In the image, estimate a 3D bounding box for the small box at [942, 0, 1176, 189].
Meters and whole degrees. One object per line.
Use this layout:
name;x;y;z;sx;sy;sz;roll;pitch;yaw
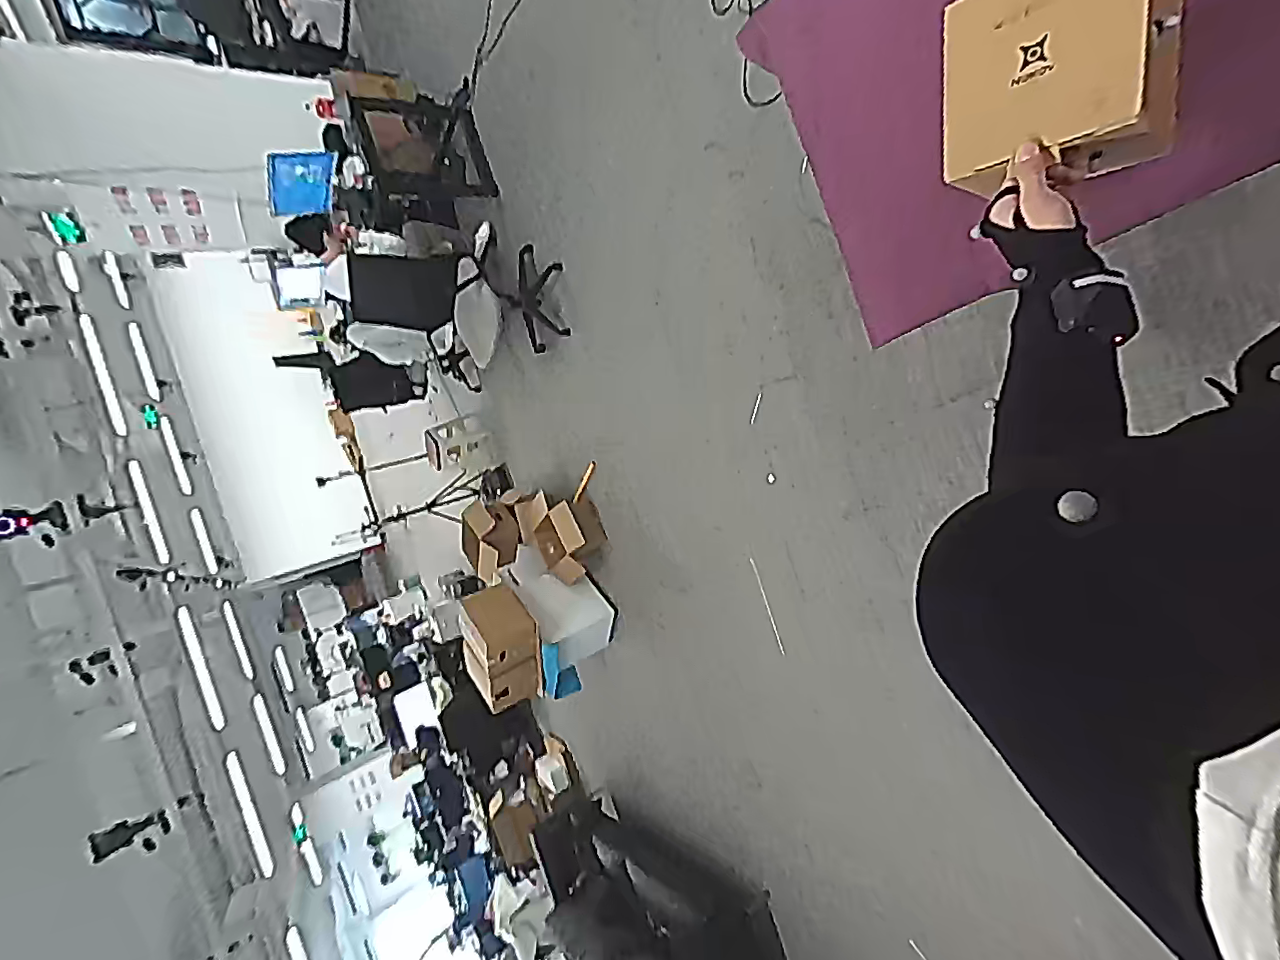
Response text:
small box;0.446;-0.430;0.579;0.168;0.176;0.179;7;106;49
